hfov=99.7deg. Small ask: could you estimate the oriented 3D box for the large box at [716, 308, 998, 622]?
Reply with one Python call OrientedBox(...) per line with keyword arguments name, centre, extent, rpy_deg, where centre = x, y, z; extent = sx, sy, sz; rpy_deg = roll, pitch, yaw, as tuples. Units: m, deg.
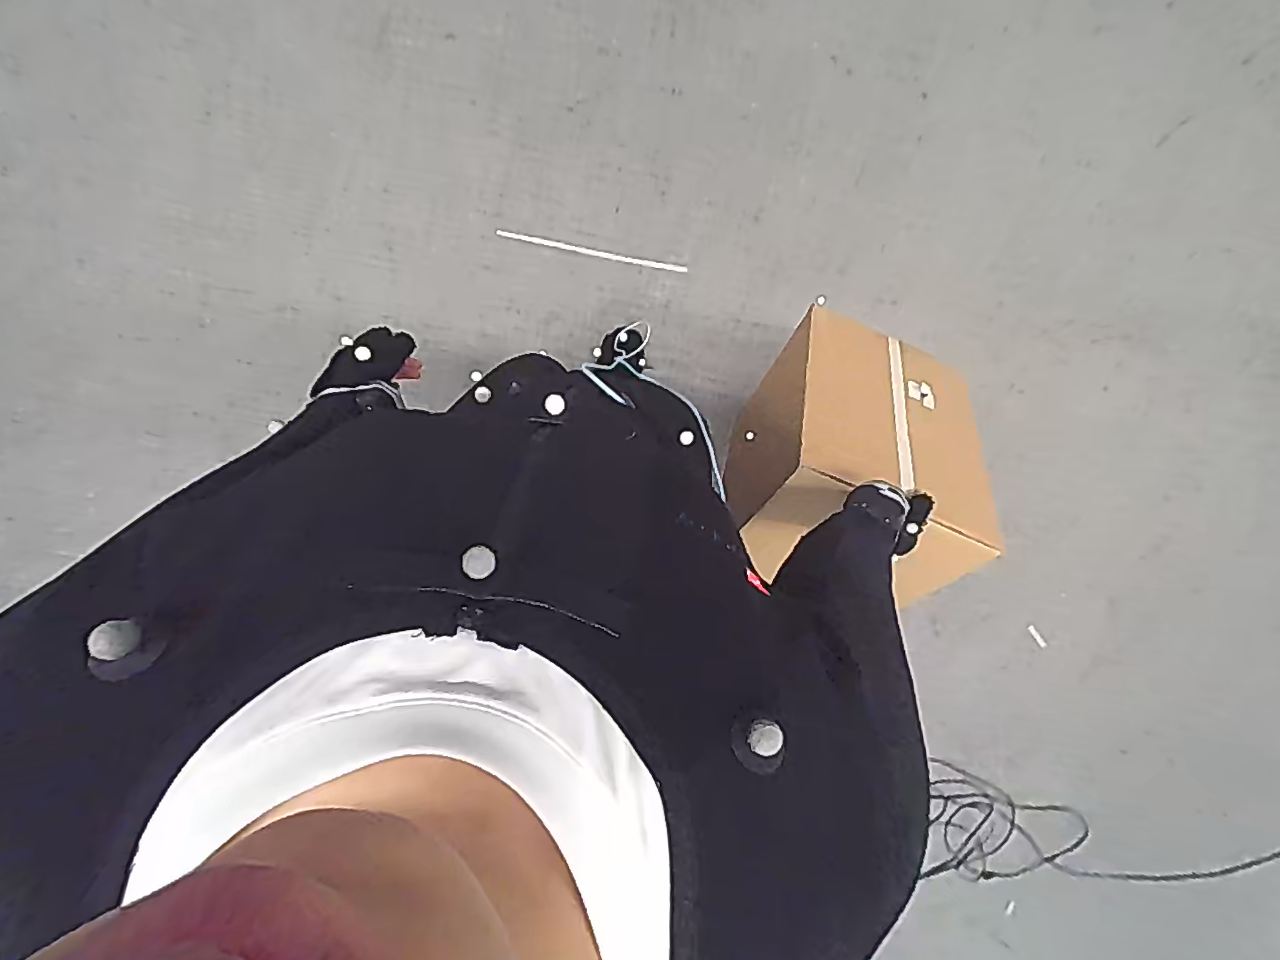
OrientedBox(name="large box", centre=(0.357, -0.022, 0.969), extent=(0.320, 0.408, 0.320), rpy_deg=(23, 141, -6))
